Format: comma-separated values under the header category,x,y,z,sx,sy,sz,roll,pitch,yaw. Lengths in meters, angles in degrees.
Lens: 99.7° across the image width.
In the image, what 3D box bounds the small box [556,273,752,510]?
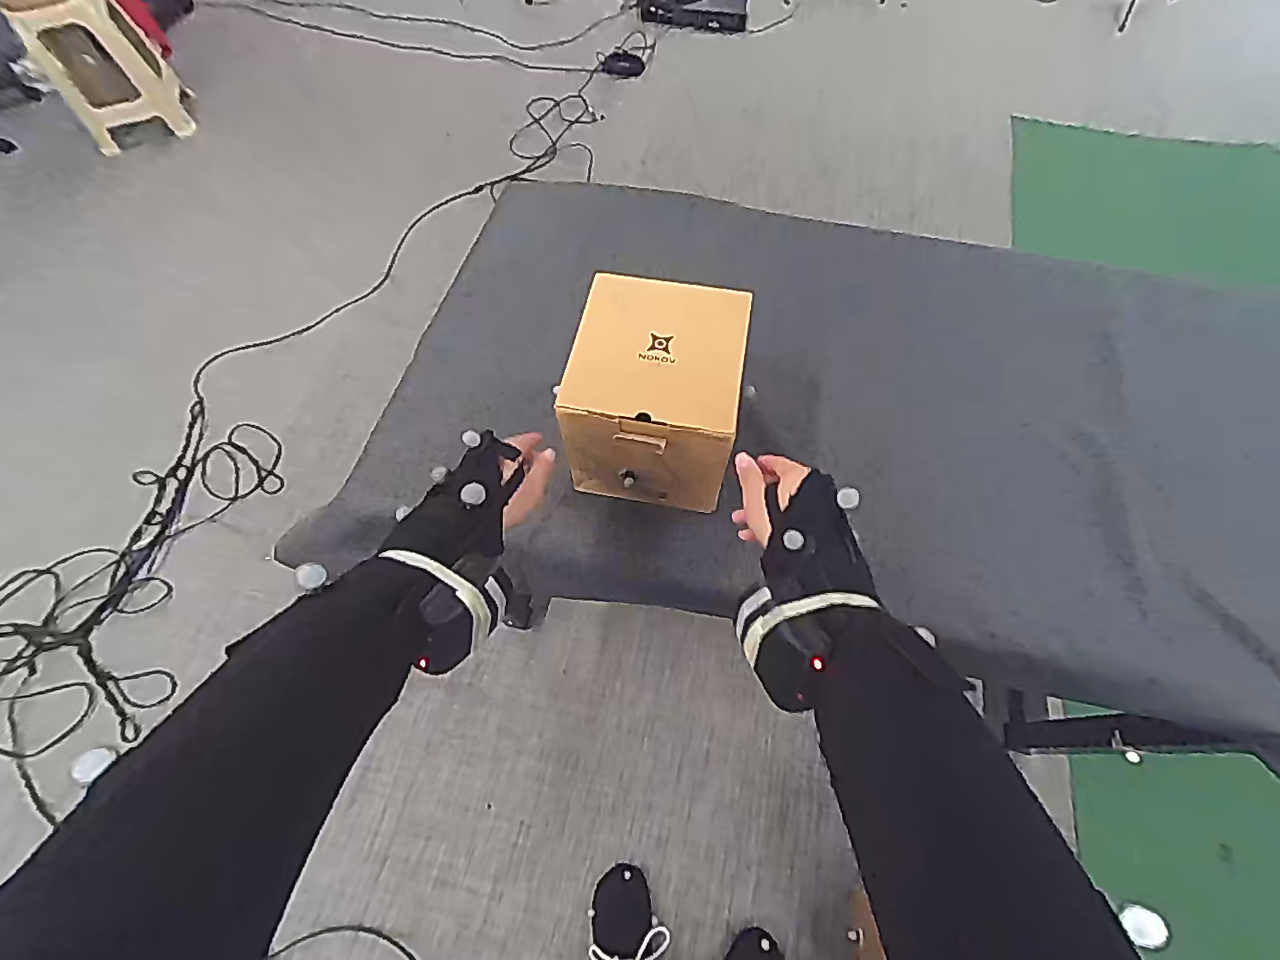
category,x,y,z,sx,sy,sz,roll,pitch,yaw
small box,0.017,-0.089,0.585,0.168,0.176,0.179,9,64,5
